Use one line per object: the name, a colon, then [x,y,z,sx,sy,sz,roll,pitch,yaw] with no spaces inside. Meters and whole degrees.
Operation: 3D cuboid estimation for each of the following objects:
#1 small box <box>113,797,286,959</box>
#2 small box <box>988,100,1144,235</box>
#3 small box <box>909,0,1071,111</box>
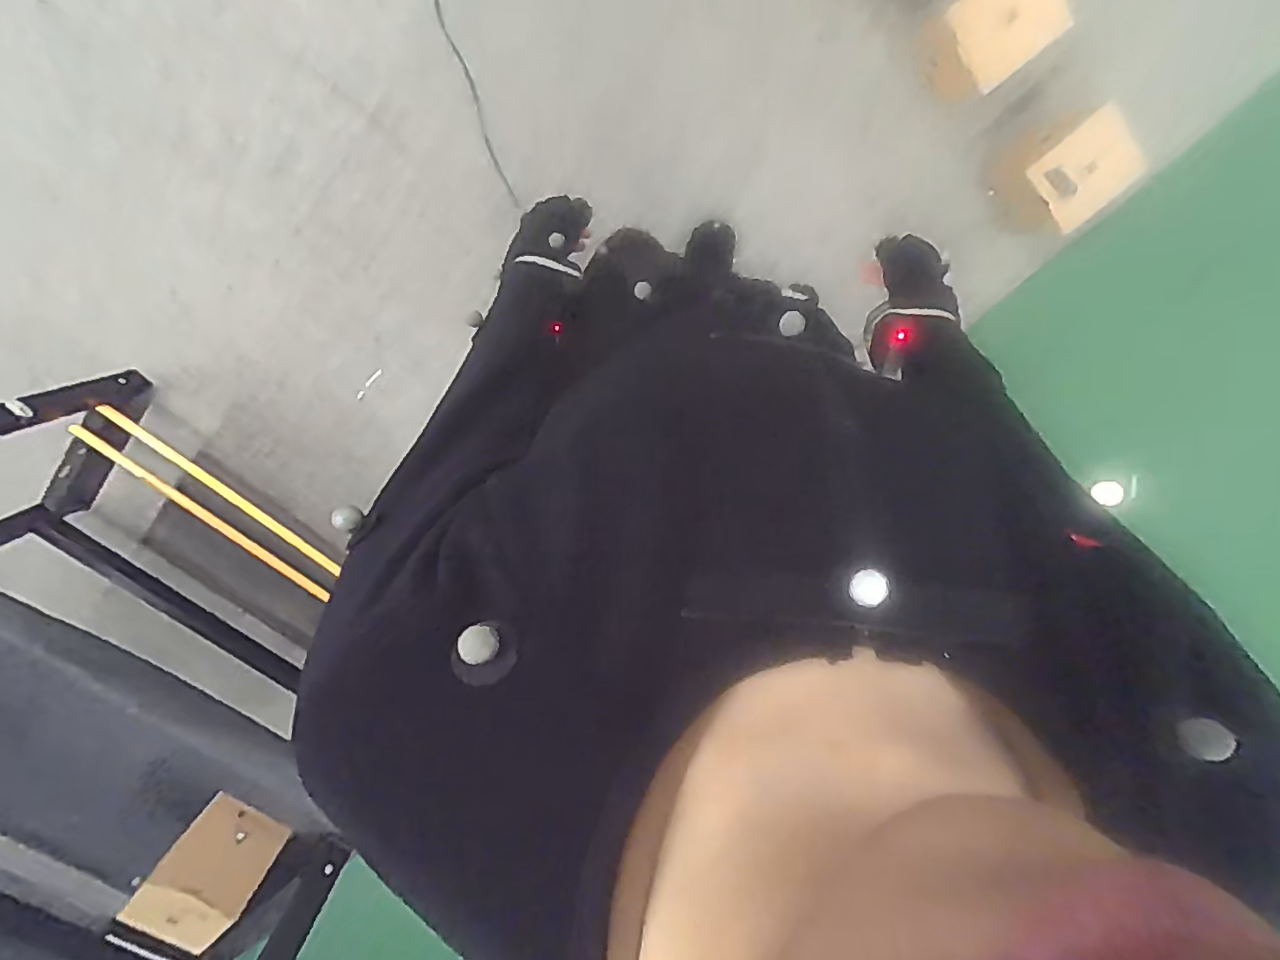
small box: [-0.832,0.759,1.039,0.168,0.176,0.179,40,110,-15]
small box: [0.876,-0.641,1.137,0.179,0.176,0.168,-41,107,17]
small box: [0.664,-0.862,1.046,0.179,0.176,0.168,-36,108,17]
